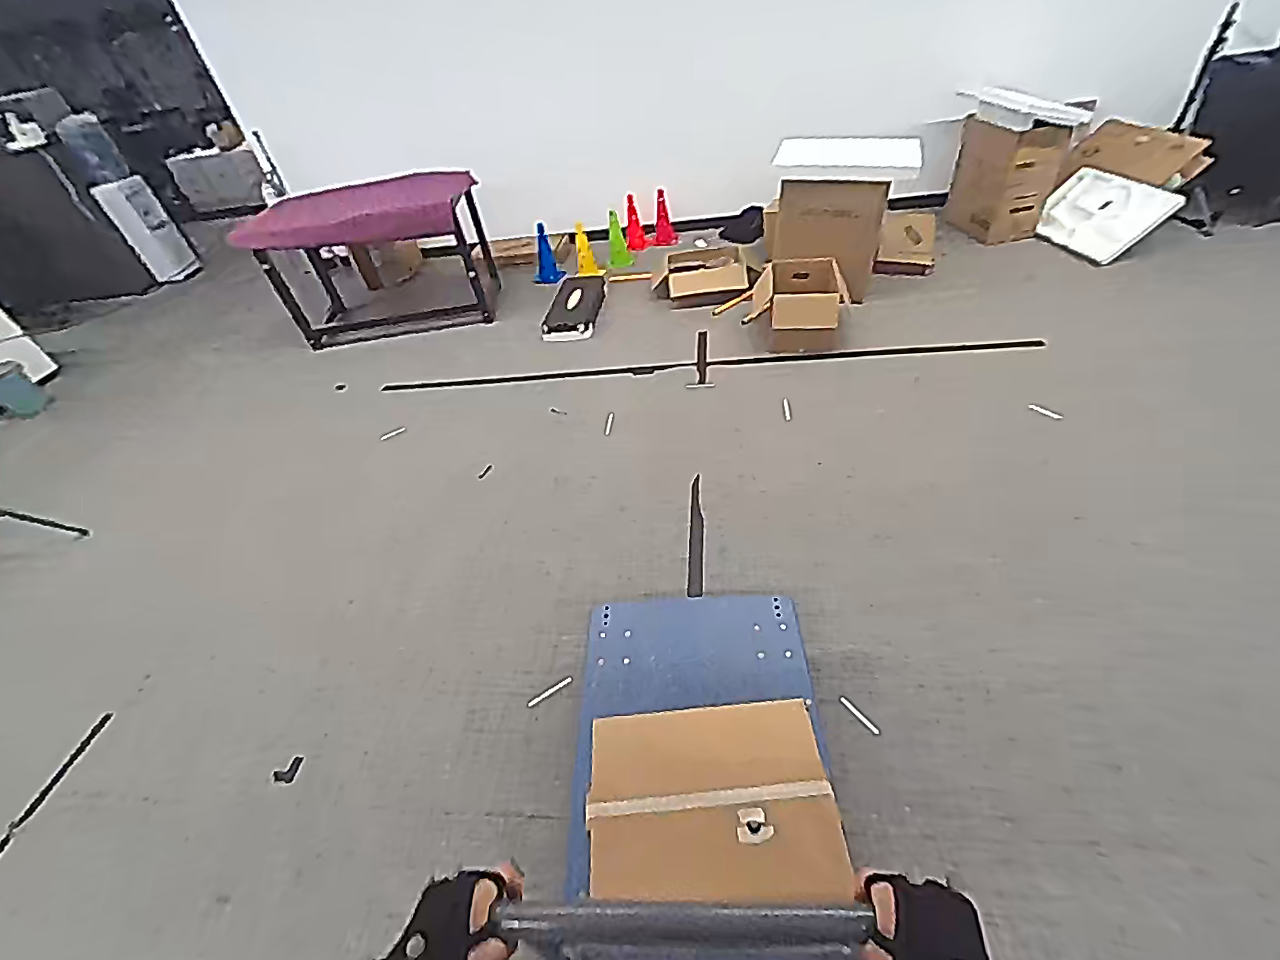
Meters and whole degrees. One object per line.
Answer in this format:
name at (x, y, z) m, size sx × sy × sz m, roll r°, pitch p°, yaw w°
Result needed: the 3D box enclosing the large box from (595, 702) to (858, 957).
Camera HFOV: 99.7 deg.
large box at (0.135, 0.654, 1.013) m, size 0.408 × 0.320 × 0.320 m, roll -6°, pitch 43°, yaw 2°
